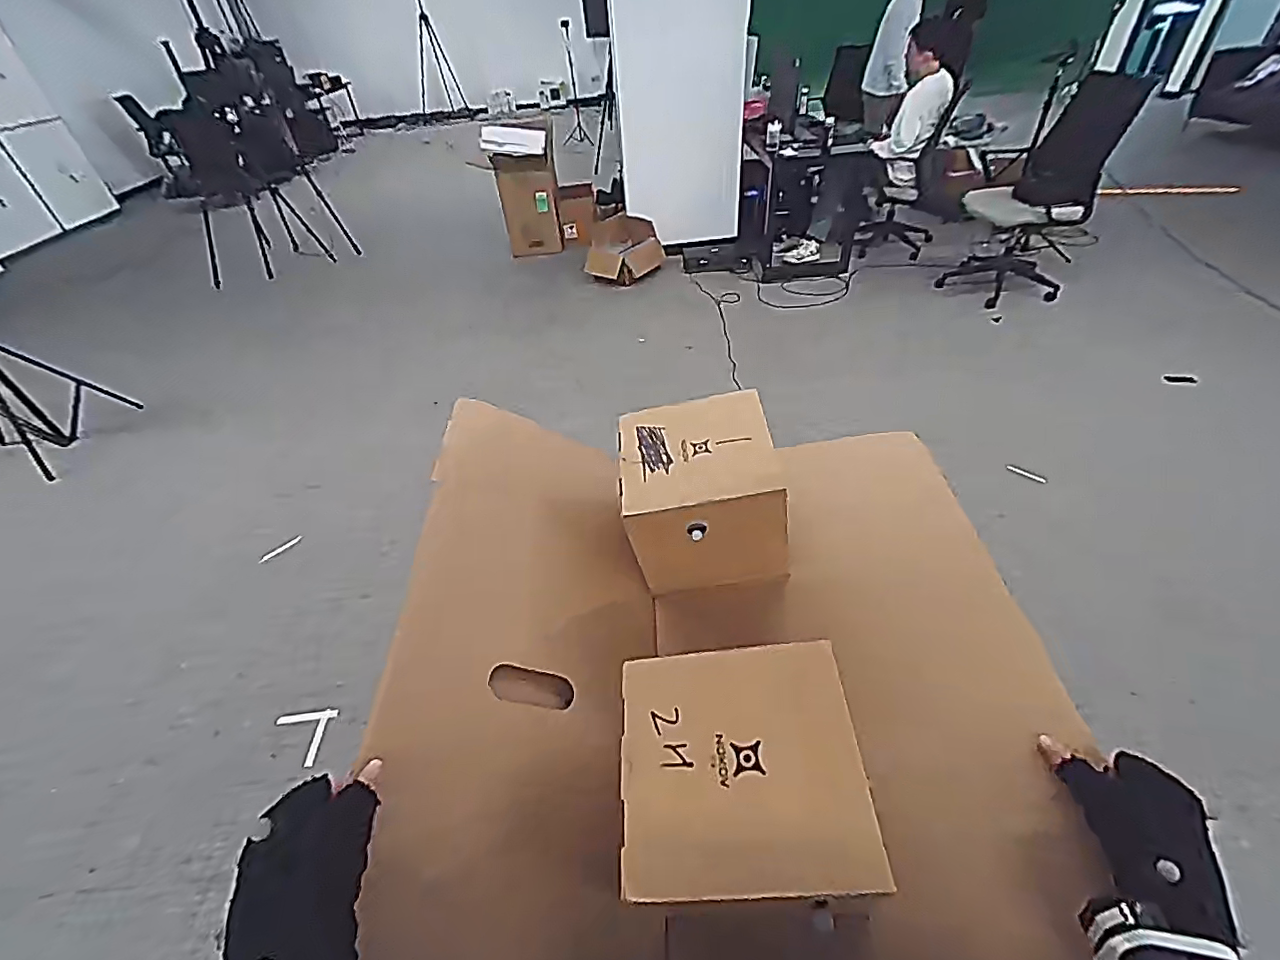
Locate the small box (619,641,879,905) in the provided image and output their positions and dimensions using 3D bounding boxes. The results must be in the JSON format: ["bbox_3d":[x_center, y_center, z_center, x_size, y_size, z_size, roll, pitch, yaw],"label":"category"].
[{"bbox_3d":[0.087,0.258,0.471,0.179,0.176,0.168,-9,47,9],"label":"small box"}]

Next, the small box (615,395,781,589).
[{"bbox_3d":[0.074,0.022,0.686,0.179,0.176,0.168,-10,47,7],"label":"small box"}]
